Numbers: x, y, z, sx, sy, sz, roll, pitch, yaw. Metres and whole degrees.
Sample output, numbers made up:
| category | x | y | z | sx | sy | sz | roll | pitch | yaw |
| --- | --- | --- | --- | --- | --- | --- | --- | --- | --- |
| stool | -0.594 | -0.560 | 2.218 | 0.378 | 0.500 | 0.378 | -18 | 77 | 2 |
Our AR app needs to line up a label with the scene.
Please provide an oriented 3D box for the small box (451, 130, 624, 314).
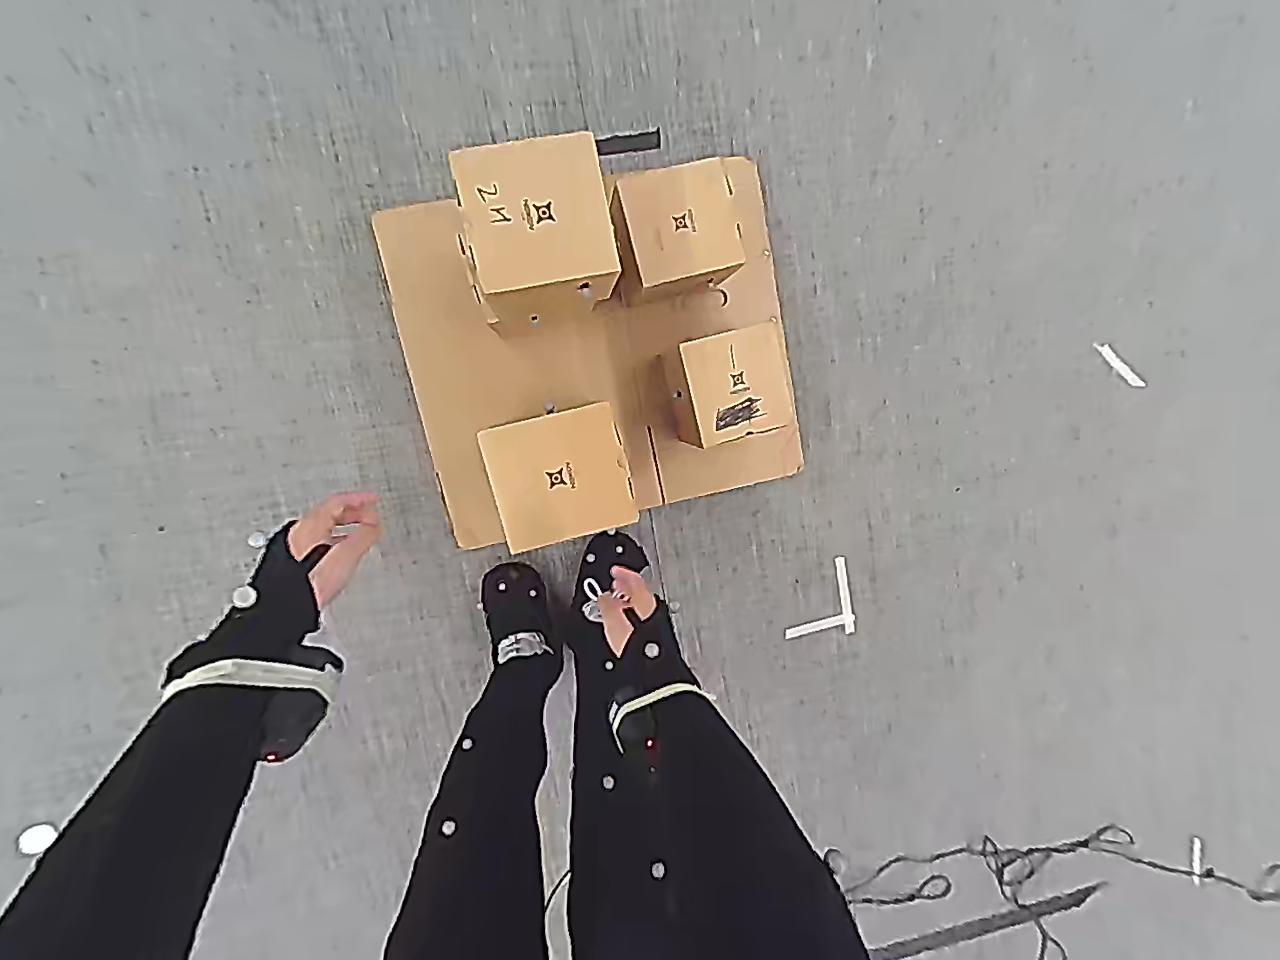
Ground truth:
| category | x | y | z | sx | sy | sz | roll | pitch | yaw |
| --- | --- | --- | --- | --- | --- | --- | --- | --- | --- |
| small box | -0.131 | -0.329 | 0.719 | 0.179 | 0.176 | 0.168 | -13 | 99 | -7 |

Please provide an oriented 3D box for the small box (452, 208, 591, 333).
| category | x | y | z | sx | sy | sz | roll | pitch | yaw |
| --- | --- | --- | --- | --- | --- | --- | --- | --- | --- |
| small box | -0.179 | -0.346 | 0.878 | 0.179 | 0.176 | 0.168 | -17 | 100 | -5 |

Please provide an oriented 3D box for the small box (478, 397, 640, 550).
| category | x | y | z | sx | sy | sz | roll | pitch | yaw |
| --- | --- | --- | --- | --- | --- | --- | --- | --- | --- |
| small box | -0.110 | -0.017 | 0.767 | 0.179 | 0.176 | 0.168 | -15 | 100 | -6 |

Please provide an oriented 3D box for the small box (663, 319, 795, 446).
| category | x | y | z | sx | sy | sz | roll | pitch | yaw |
| --- | --- | --- | --- | --- | --- | --- | --- | --- | --- |
| small box | 0.149 | -0.170 | 0.953 | 0.168 | 0.176 | 0.179 | -16 | 100 | -6 |

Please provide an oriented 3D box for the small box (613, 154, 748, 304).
| category | x | y | z | sx | sy | sz | roll | pitch | yaw |
| --- | --- | --- | --- | --- | --- | --- | --- | --- | --- |
| small box | 0.056 | -0.410 | 0.908 | 0.179 | 0.176 | 0.168 | -17 | 99 | -6 |
